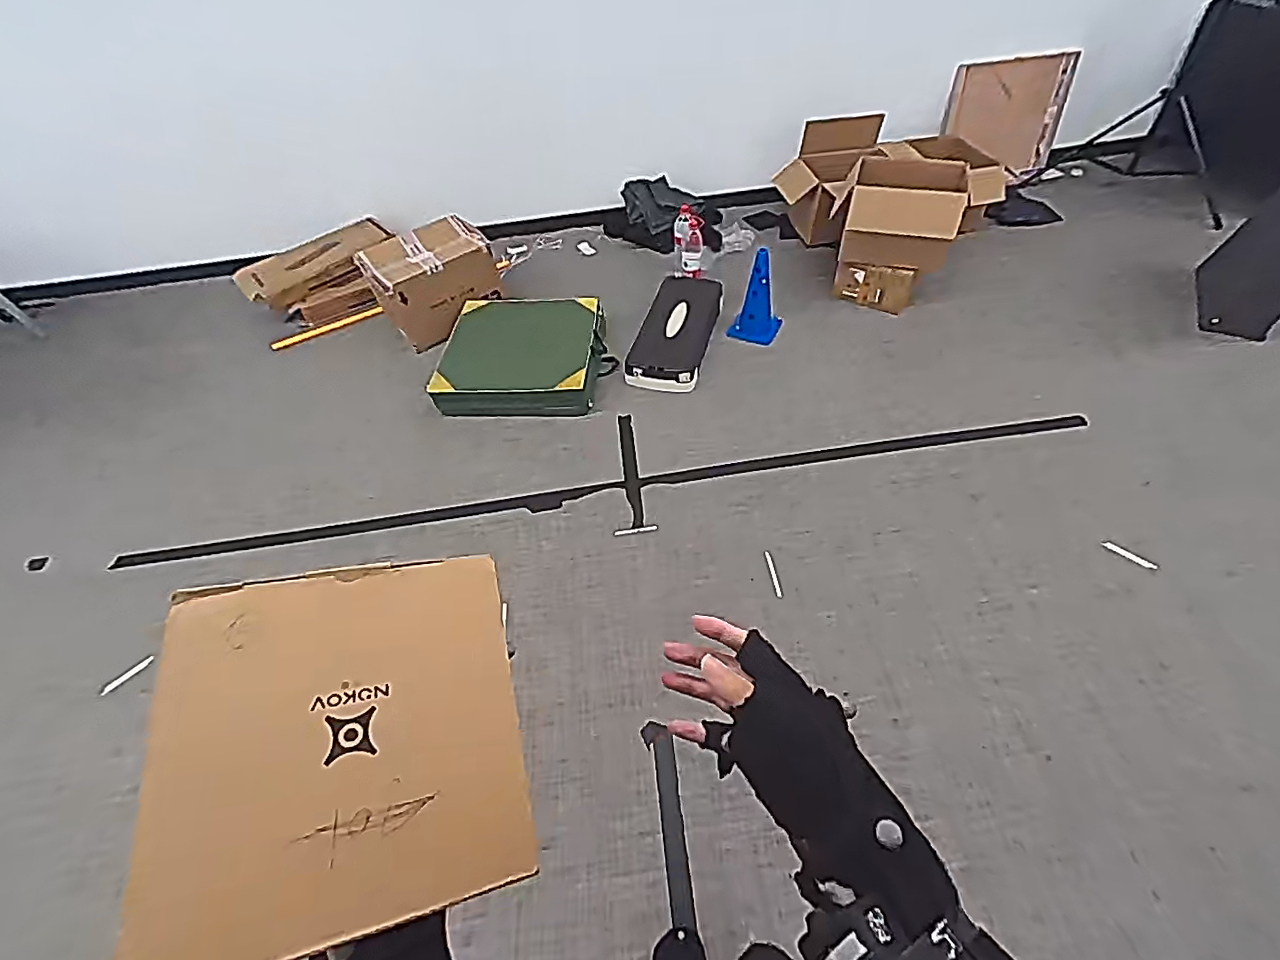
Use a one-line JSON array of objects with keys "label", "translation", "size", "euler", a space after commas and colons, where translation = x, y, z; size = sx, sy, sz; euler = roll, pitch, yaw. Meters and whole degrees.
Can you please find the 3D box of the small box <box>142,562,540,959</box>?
[{"label": "small box", "translation": [-0.172, 0.174, 0.352], "size": [0.168, 0.176, 0.179], "euler": [-4, 59, -23]}]
